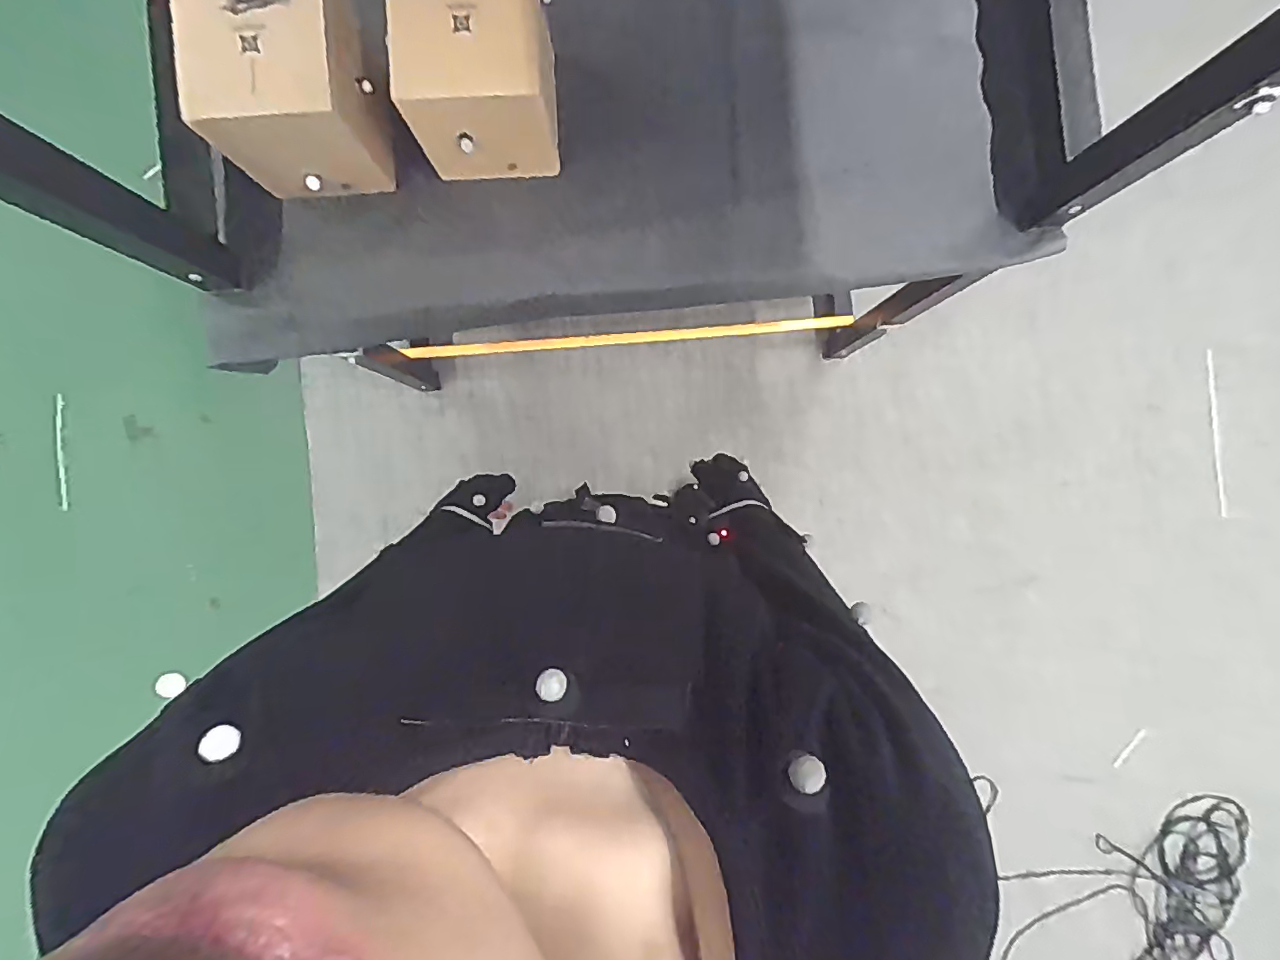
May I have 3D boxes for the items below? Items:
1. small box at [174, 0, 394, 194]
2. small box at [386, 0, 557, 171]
[{"bbox_3d":[-0.425,-0.488,0.671,0.168,0.176,0.179,-5,90,-2],"label":"small box"},{"bbox_3d":[-0.200,-0.514,0.679,0.168,0.176,0.179,-3,89,-2],"label":"small box"}]
